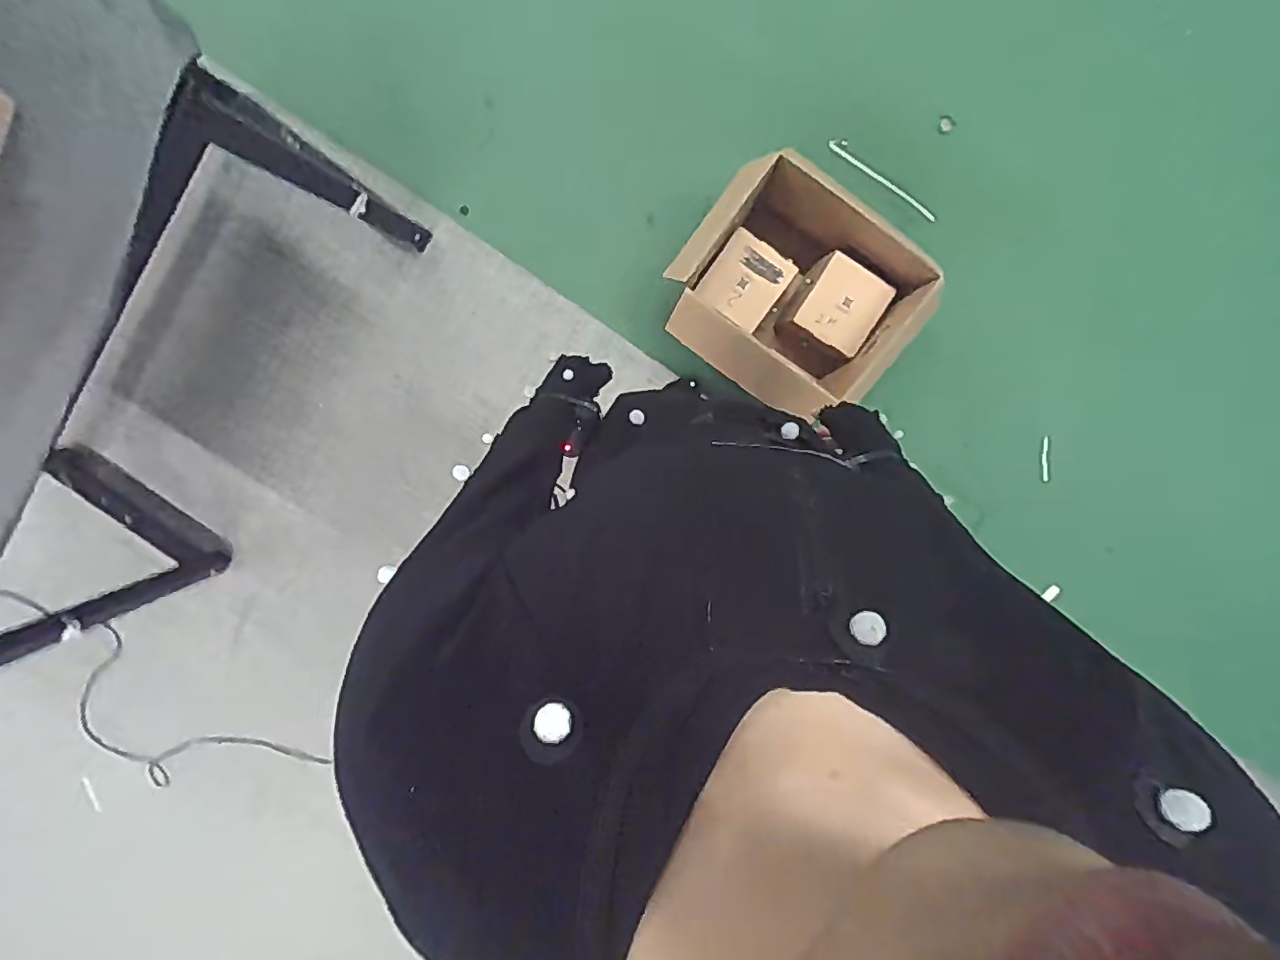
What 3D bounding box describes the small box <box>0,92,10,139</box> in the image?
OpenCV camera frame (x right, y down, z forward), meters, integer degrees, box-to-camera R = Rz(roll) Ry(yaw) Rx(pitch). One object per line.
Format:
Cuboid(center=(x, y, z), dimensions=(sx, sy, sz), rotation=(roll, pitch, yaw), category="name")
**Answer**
Cuboid(center=(-0.923, -0.455, 0.631), dimensions=(0.179, 0.176, 0.168), rotation=(33, 101, -1), category="small box")
